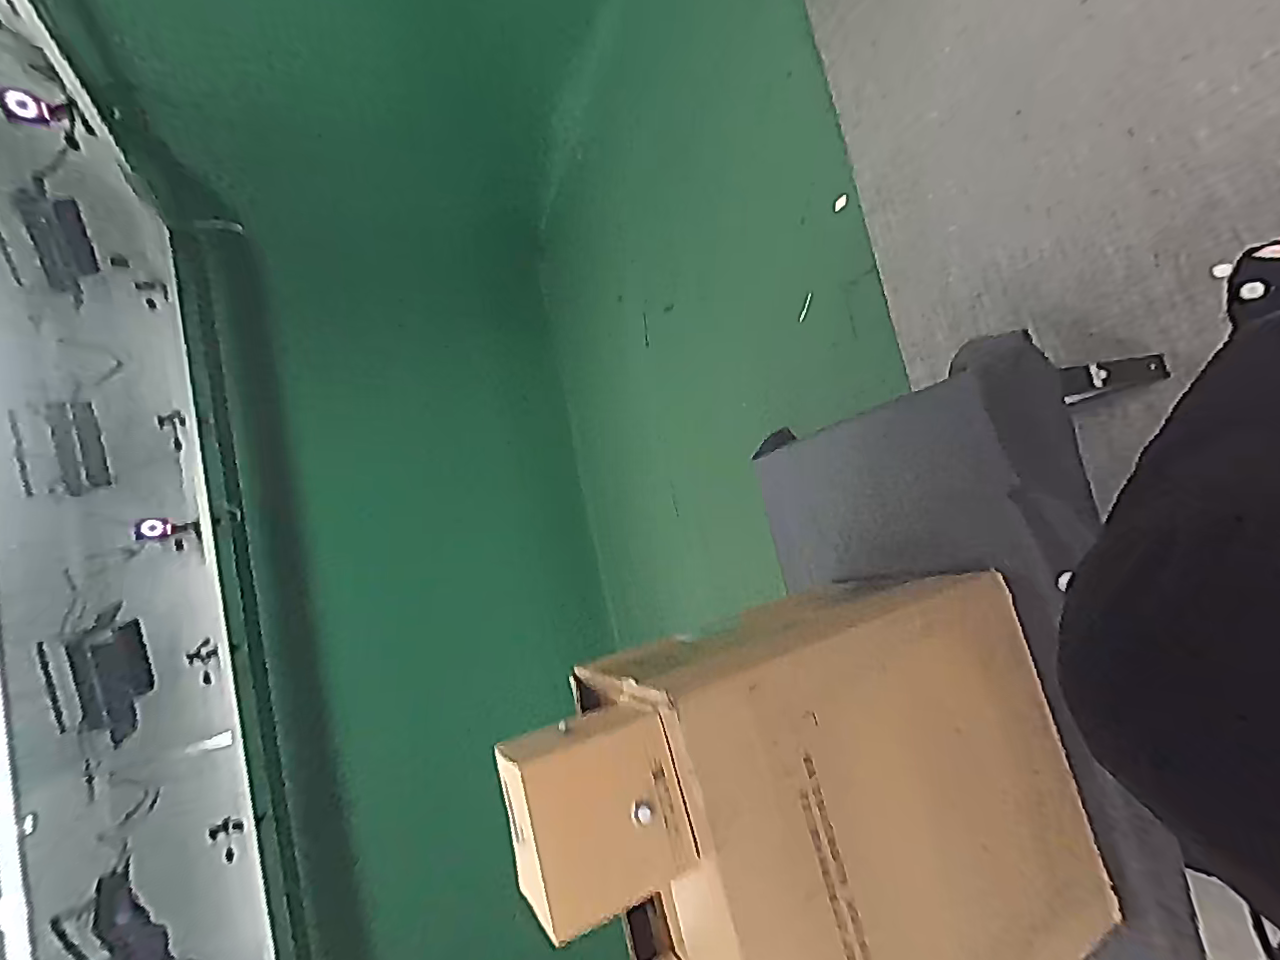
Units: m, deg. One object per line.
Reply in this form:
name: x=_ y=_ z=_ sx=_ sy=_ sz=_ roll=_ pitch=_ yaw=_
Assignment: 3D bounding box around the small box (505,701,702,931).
small box: x=-0.051 y=0.376 z=0.647 sx=0.179 sy=0.176 sz=0.168 roll=-41 pitch=63 yaw=60
